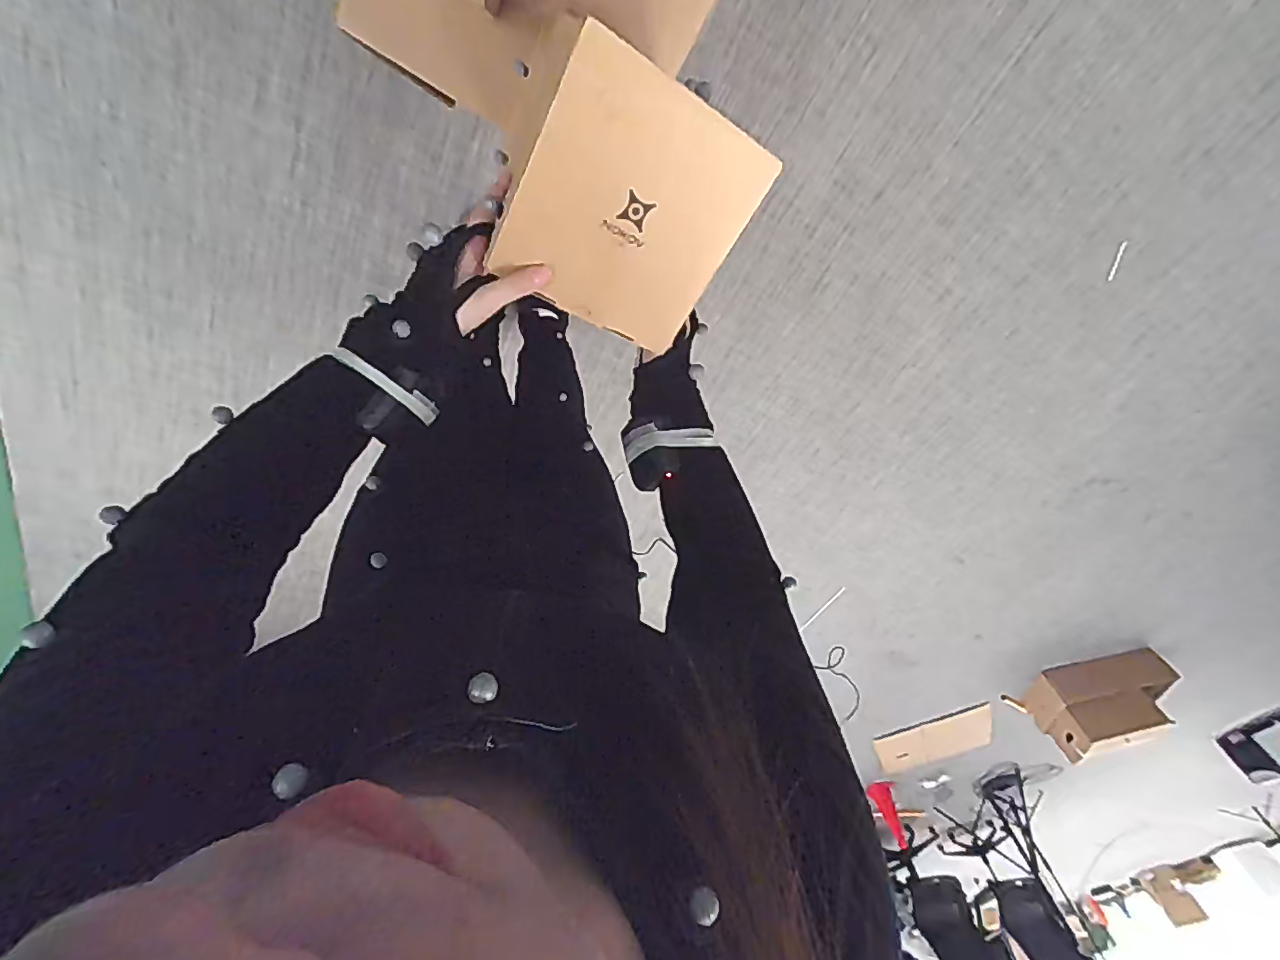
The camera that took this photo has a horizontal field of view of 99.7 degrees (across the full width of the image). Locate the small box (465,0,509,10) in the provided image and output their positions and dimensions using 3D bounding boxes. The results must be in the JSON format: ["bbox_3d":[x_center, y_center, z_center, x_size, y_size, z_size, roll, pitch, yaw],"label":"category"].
[{"bbox_3d":[-0.168,-0.513,0.425,0.179,0.176,0.168,19,122,-24],"label":"small box"}]

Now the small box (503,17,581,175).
[{"bbox_3d":[-0.067,-0.461,0.707,0.179,0.176,0.168,18,122,-25],"label":"small box"}]

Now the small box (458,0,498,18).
[{"bbox_3d":[-0.199,-0.620,0.549,0.168,0.176,0.179,20,121,-25],"label":"small box"}]

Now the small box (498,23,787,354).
[{"bbox_3d":[-0.014,-0.248,0.467,0.168,0.176,0.179,19,124,-26],"label":"small box"}]
